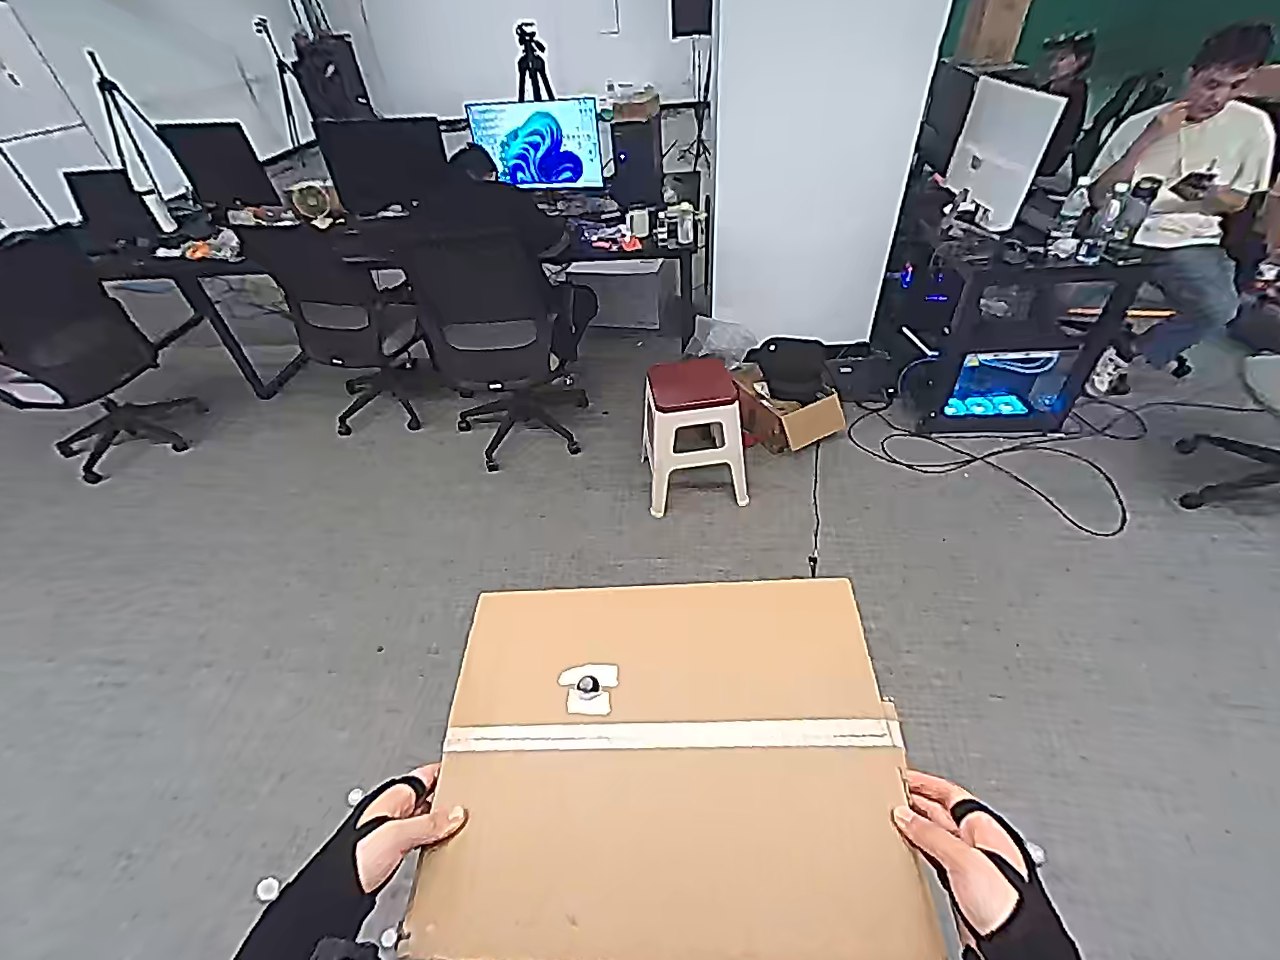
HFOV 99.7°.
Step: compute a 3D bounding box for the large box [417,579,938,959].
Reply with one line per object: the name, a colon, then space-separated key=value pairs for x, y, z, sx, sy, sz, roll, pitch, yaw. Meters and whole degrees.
large box: x=0.043 y=0.337 z=0.611 sx=0.408 sy=0.320 sz=0.320 roll=-6 pitch=47 yaw=8
